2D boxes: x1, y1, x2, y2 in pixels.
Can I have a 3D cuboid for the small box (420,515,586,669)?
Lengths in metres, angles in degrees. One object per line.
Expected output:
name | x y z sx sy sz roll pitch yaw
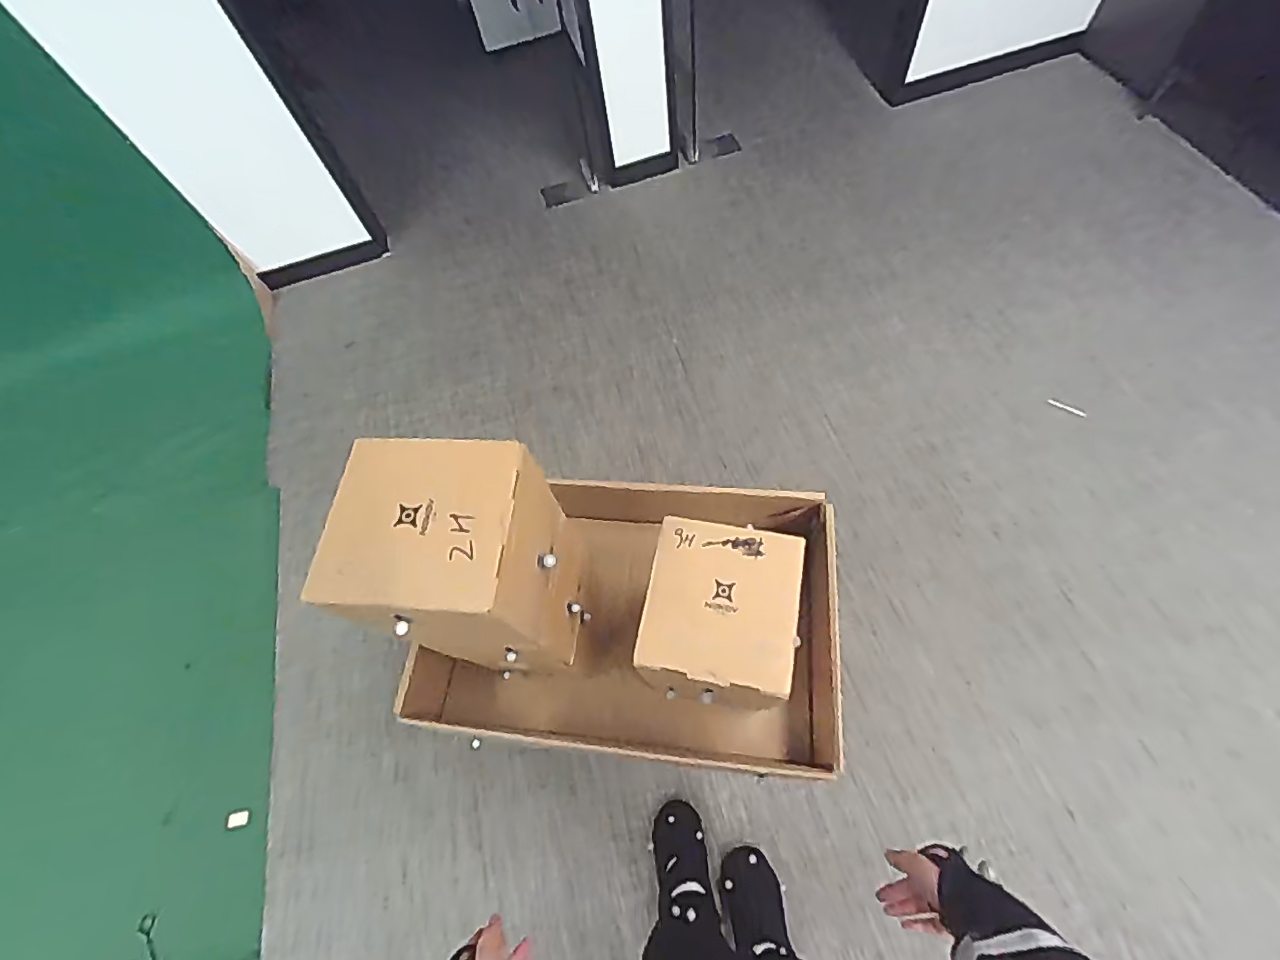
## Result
small box | -0.180 0.148 0.711 0.179 0.176 0.168 3 64 6

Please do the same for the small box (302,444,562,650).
small box | -0.194 0.076 0.563 0.179 0.176 0.168 2 64 6

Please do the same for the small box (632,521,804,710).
small box | 0.097 0.172 0.664 0.168 0.176 0.179 9 65 11
